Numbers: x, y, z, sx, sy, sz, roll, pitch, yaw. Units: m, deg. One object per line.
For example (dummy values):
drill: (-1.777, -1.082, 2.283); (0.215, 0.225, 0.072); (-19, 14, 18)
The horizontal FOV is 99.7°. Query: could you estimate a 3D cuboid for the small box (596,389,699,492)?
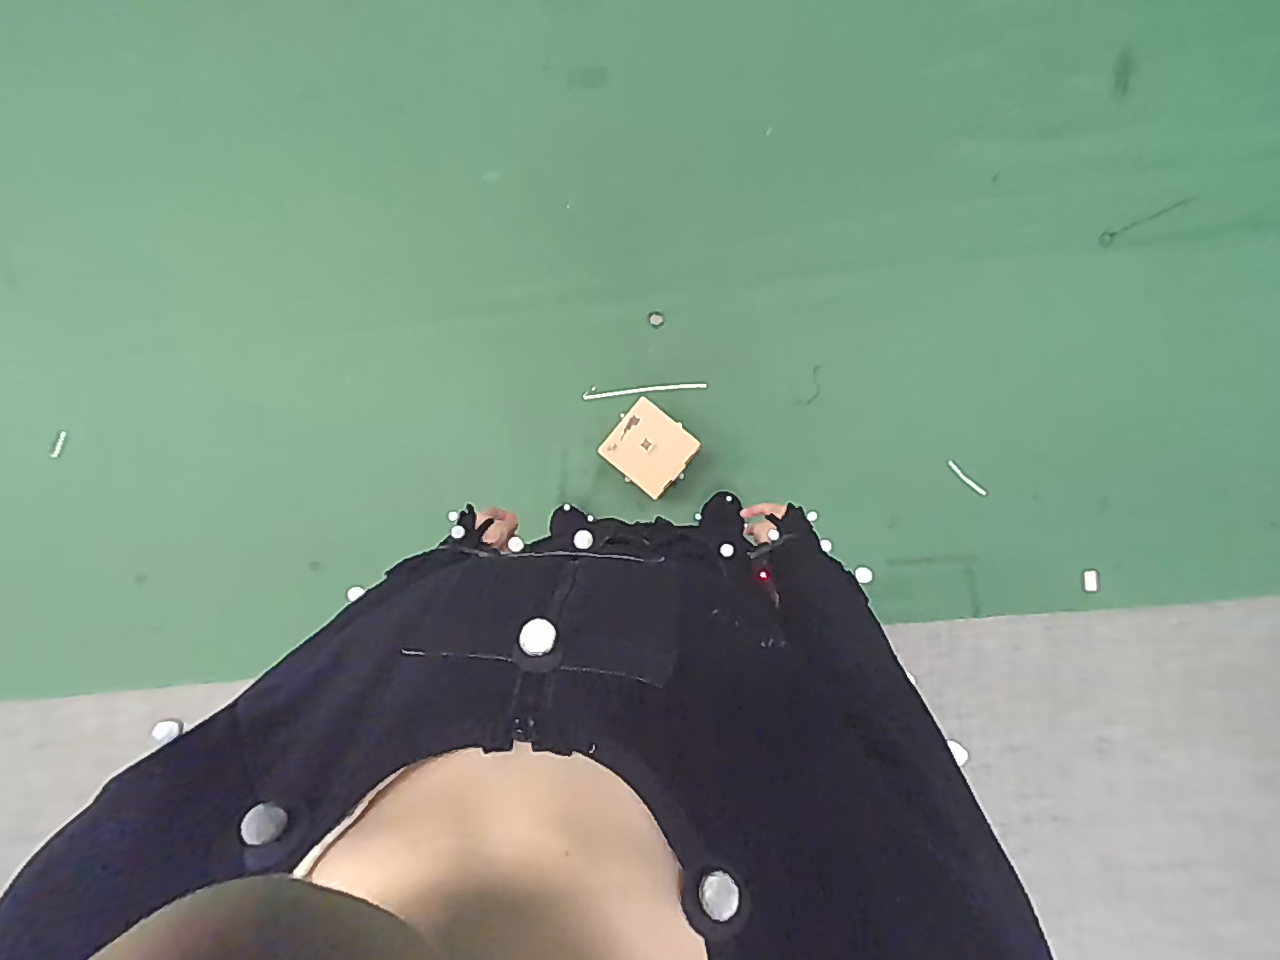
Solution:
small box: (0.021, -0.091, 1.285); (0.179, 0.176, 0.168); (40, 92, 2)
